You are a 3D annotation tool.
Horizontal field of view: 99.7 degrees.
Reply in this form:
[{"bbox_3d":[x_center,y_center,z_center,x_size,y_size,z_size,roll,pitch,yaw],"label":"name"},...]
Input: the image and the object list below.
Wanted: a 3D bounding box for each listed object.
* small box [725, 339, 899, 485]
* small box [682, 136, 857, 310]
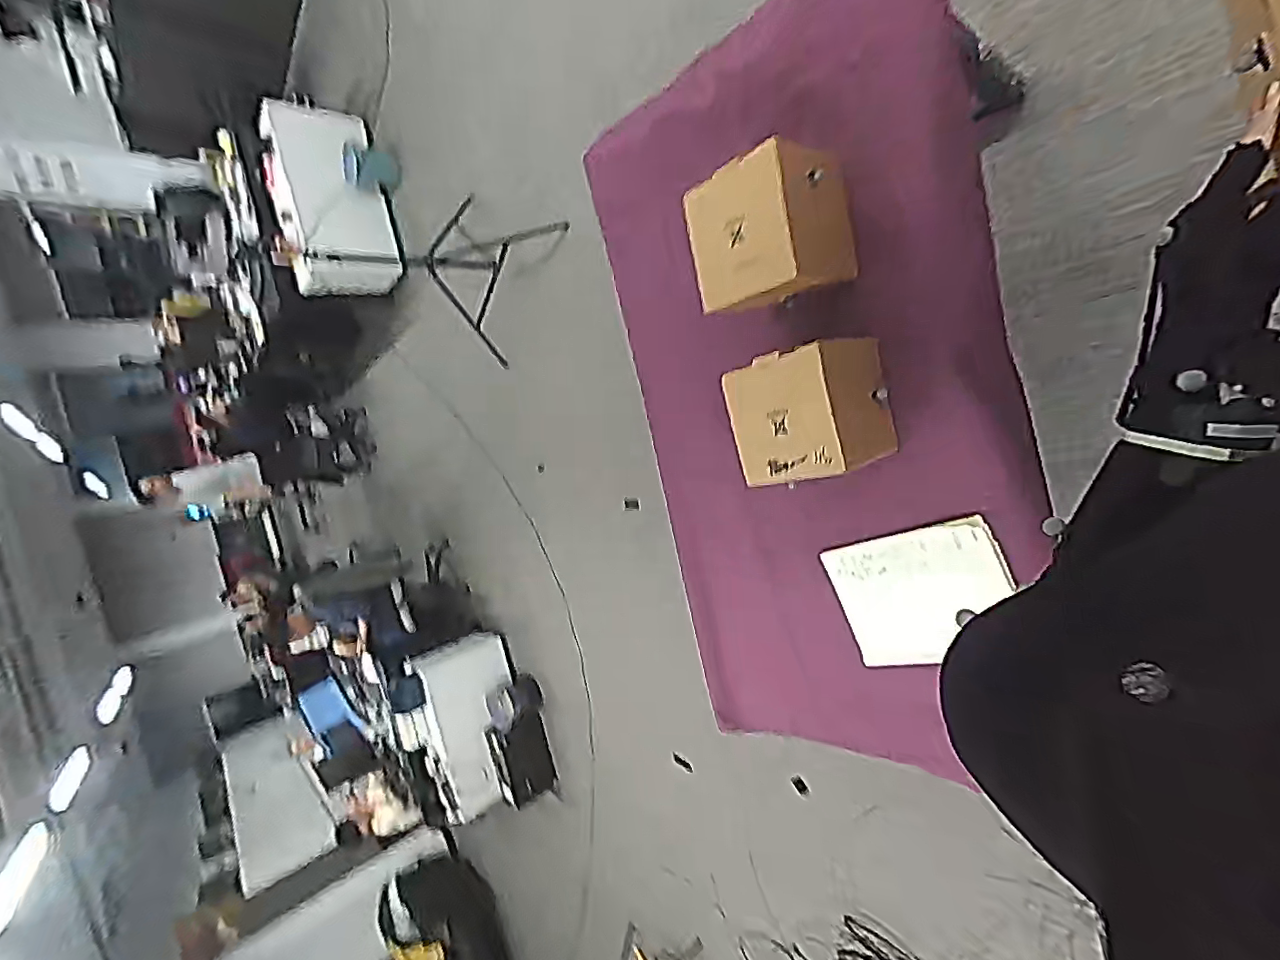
[{"bbox_3d":[0.255,-0.101,0.800,0.168,0.176,0.179,-11,94,51],"label":"small box"},{"bbox_3d":[0.190,-0.358,0.788,0.168,0.176,0.179,-4,101,51],"label":"small box"}]
